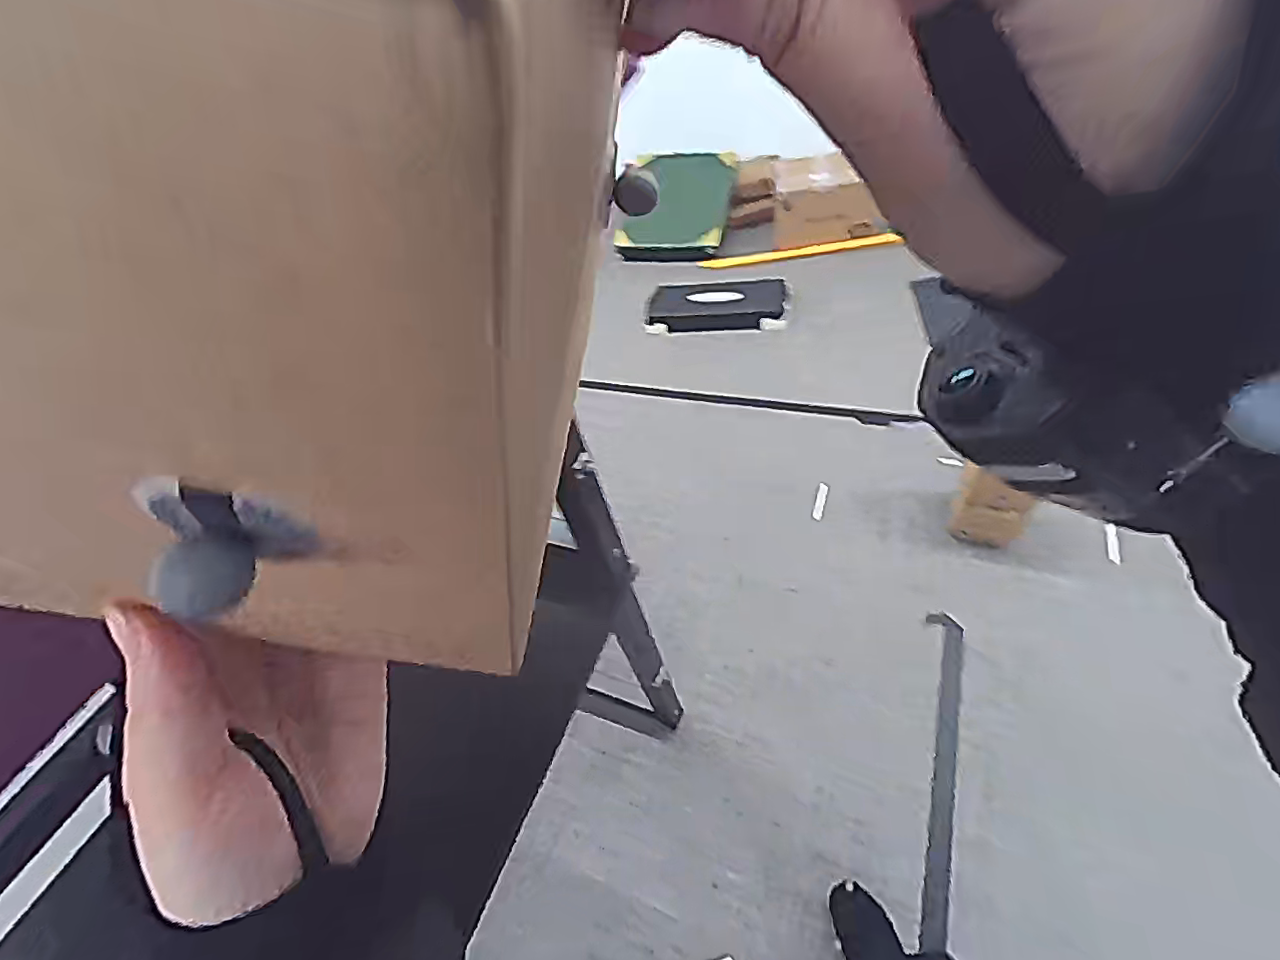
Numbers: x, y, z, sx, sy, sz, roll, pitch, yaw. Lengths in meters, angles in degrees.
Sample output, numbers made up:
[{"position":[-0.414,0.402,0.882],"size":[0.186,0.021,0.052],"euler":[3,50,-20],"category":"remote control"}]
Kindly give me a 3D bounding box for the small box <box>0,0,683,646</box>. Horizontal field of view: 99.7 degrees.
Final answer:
[{"position":[-0.090,-0.069,0.130],"size":[0.179,0.176,0.168],"euler":[11,56,-6],"category":"small box"}]

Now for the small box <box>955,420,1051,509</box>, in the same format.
[{"position":[0.987,-0.039,1.485],"size":[0.179,0.176,0.168],"euler":[9,52,19],"category":"small box"}]

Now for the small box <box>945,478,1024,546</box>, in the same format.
[{"position":[1.019,0.071,1.604],"size":[0.168,0.176,0.179],"euler":[13,53,22],"category":"small box"}]
